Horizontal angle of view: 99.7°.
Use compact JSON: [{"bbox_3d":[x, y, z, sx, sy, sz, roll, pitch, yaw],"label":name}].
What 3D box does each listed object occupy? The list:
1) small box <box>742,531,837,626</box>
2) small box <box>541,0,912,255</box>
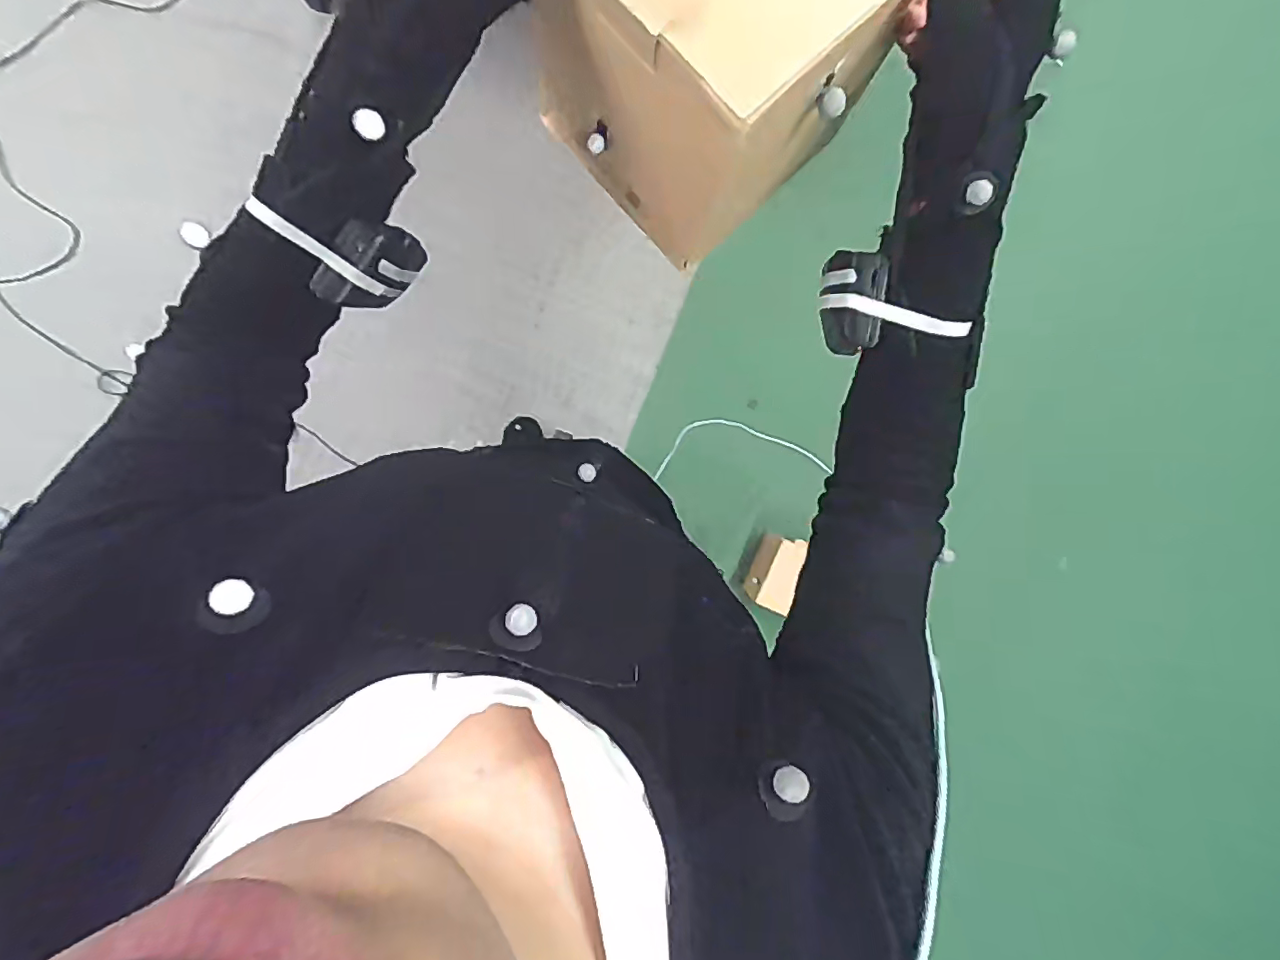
[{"bbox_3d":[0.380,0.251,1.415,0.168,0.176,0.179,24,91,-2],"label":"small box"},{"bbox_3d":[0.046,-0.290,0.350,0.179,0.176,0.168,-44,92,-6],"label":"small box"}]
